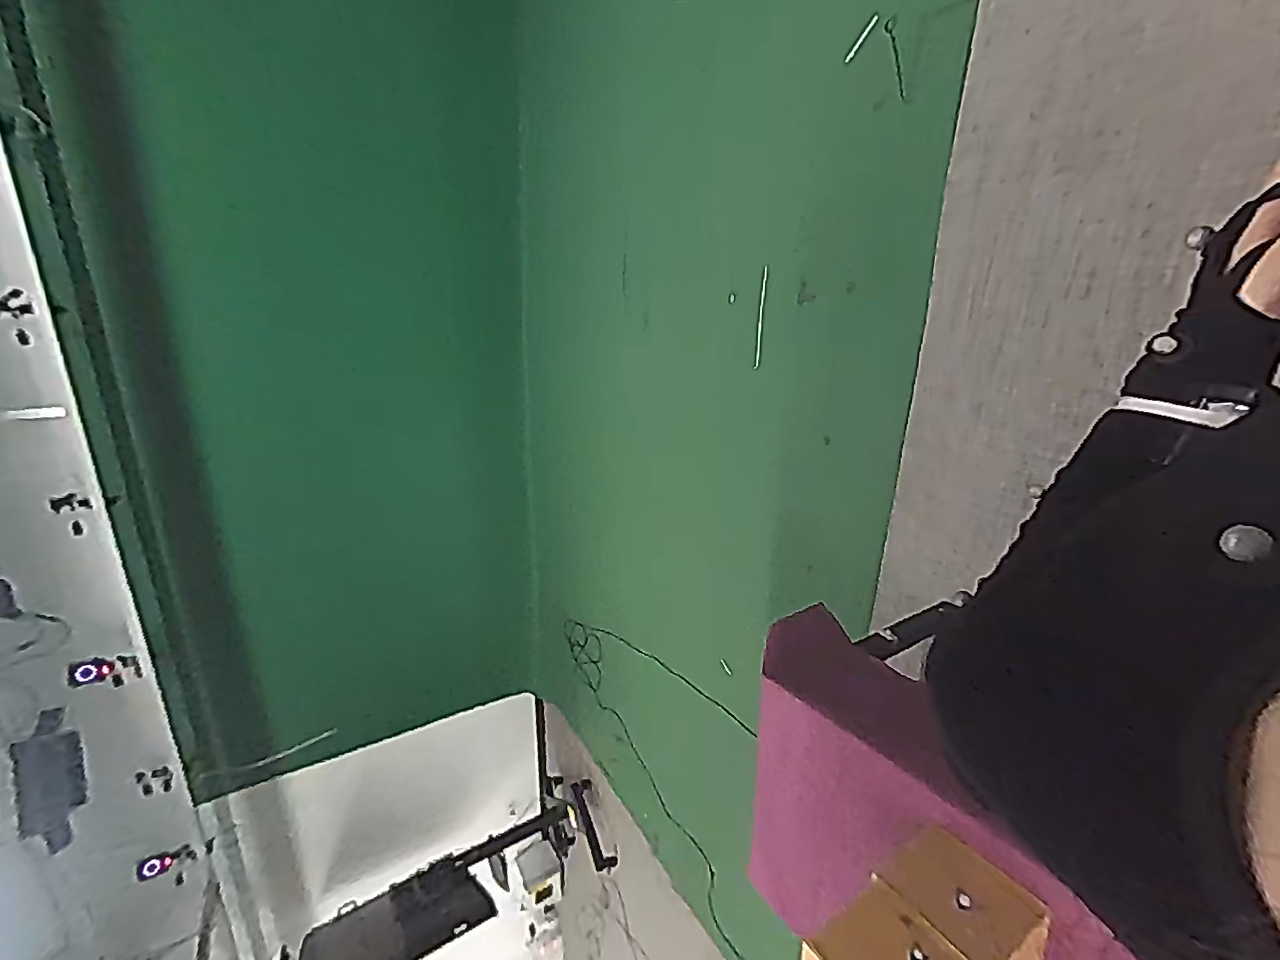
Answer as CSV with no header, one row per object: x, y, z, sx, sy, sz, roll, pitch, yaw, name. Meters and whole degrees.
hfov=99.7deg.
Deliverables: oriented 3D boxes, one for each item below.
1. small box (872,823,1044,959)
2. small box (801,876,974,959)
0.474,0.675,0.822,0.179,0.176,0.168,20,115,55,small box
0.337,0.706,0.738,0.168,0.176,0.179,23,117,55,small box
